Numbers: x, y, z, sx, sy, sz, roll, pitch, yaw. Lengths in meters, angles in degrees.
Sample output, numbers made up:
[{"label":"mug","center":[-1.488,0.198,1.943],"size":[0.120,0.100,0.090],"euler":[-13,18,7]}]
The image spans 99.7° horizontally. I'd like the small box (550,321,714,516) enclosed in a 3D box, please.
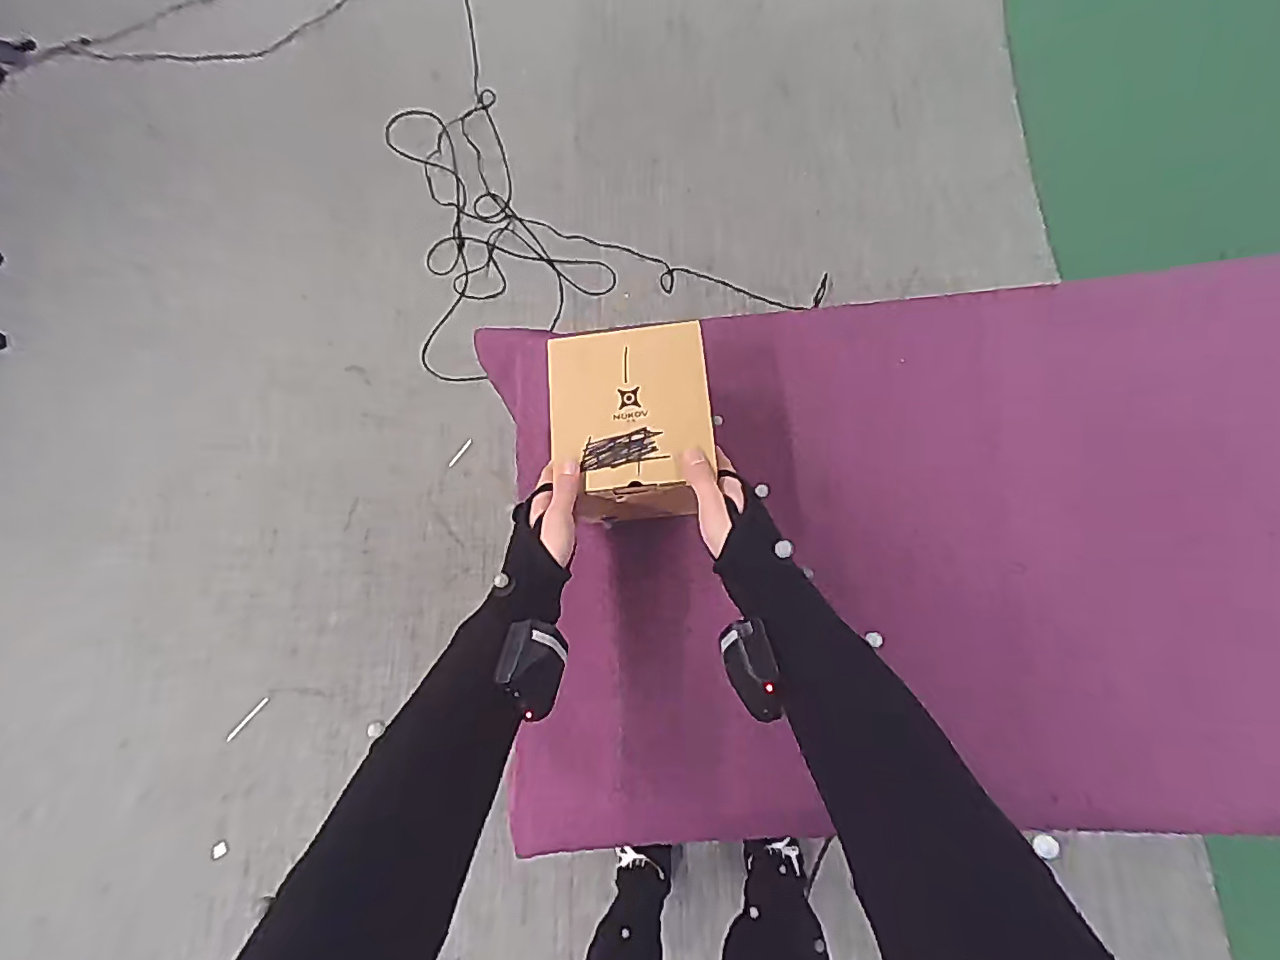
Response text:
[{"label":"small box","center":[-0.002,-0.058,0.630],"size":[0.168,0.176,0.179],"euler":[-6,75,5]}]
